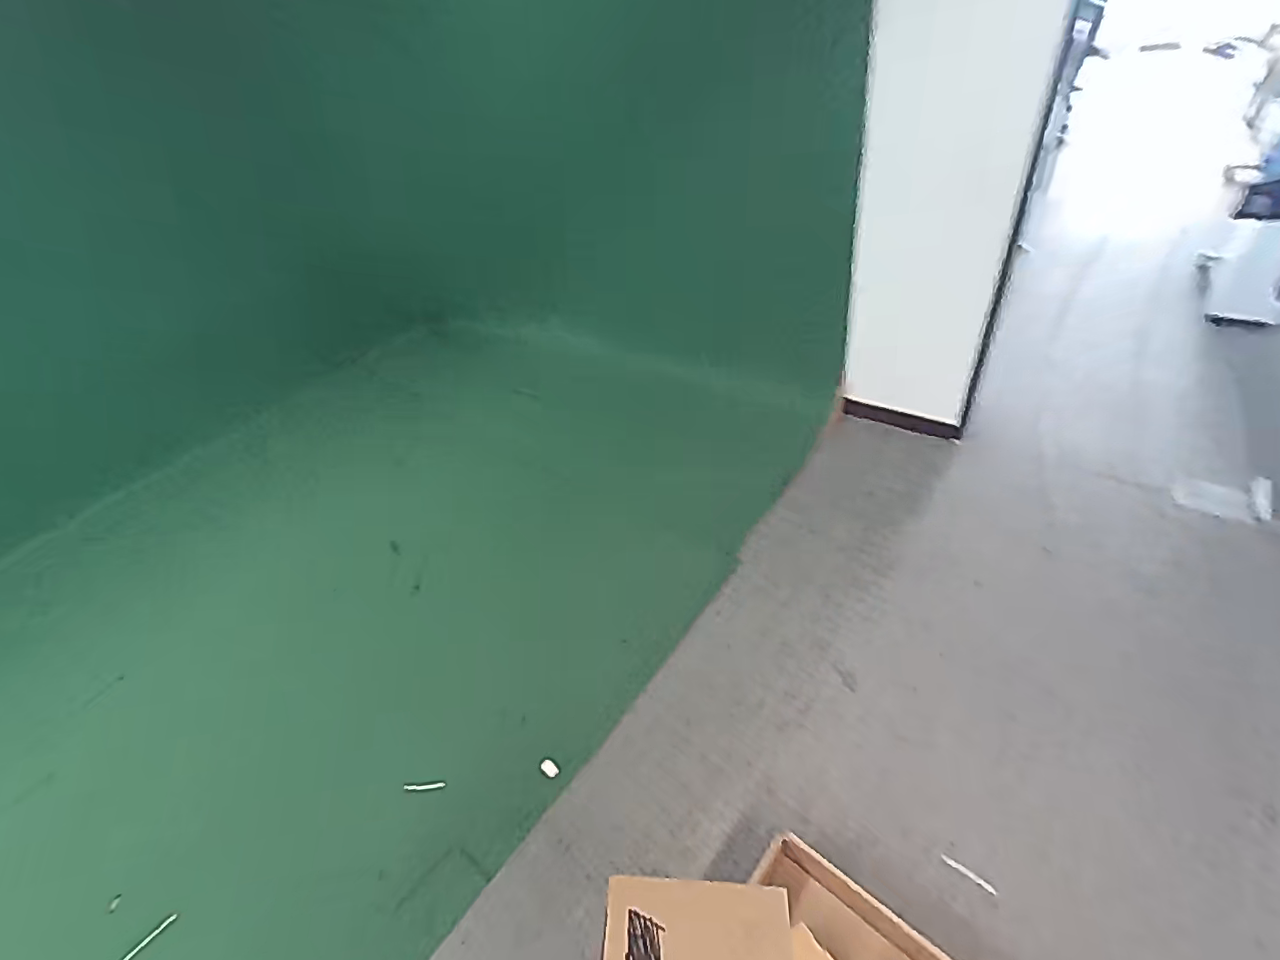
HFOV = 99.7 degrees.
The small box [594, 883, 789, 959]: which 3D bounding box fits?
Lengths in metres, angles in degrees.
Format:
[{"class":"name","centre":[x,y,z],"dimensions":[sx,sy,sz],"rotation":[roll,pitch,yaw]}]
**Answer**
[{"class":"small box","centre":[0.050,0.509,0.506],"dimensions":[0.179,0.176,0.168],"rotation":[-1,38,7]}]
